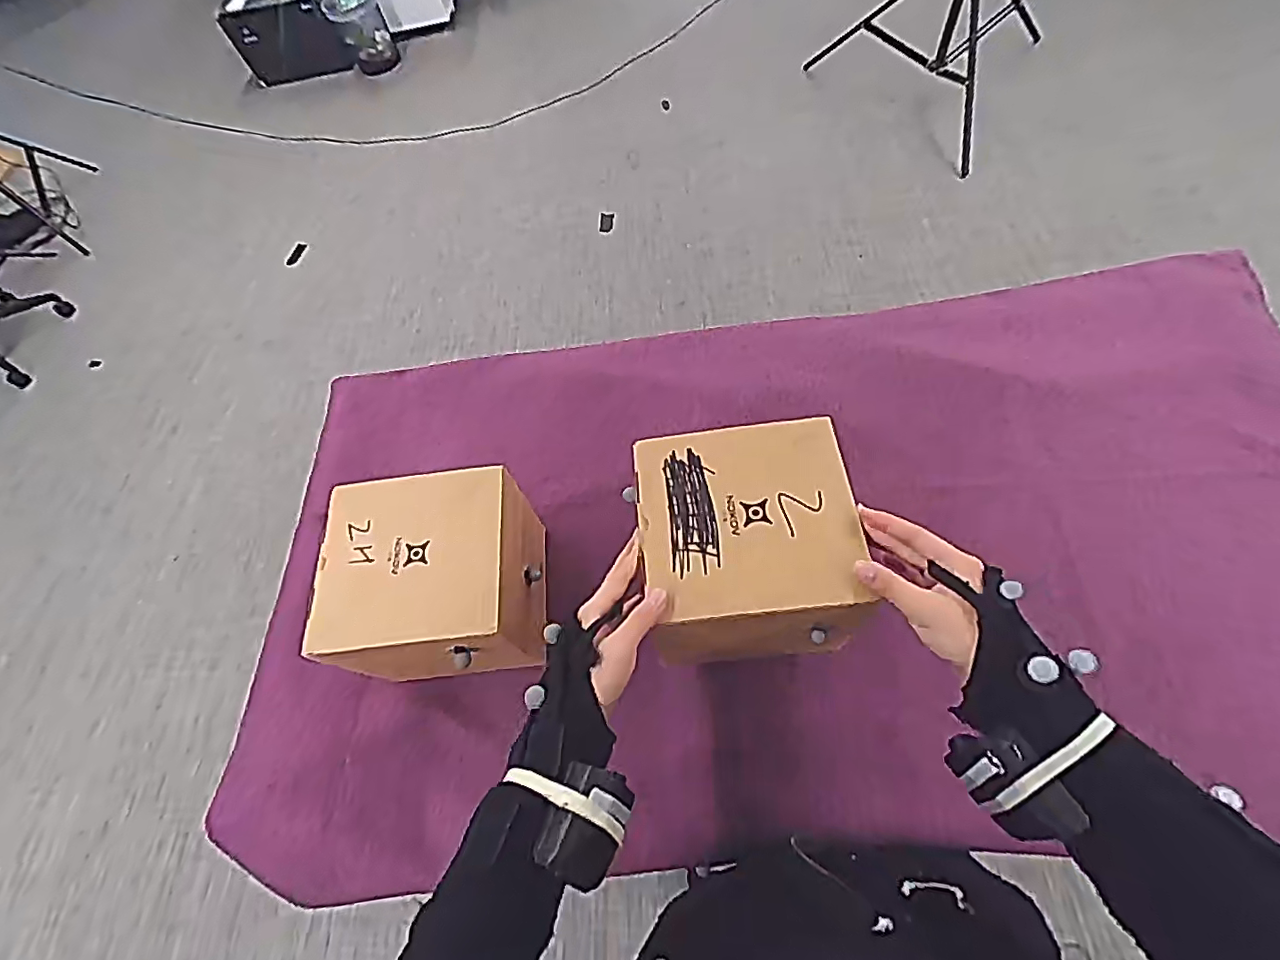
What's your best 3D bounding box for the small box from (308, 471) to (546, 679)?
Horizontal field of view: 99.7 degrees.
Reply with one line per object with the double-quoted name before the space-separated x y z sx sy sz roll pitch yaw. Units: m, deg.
"small box" -0.201 0.108 0.572 0.179 0.176 0.168 -7 61 3
